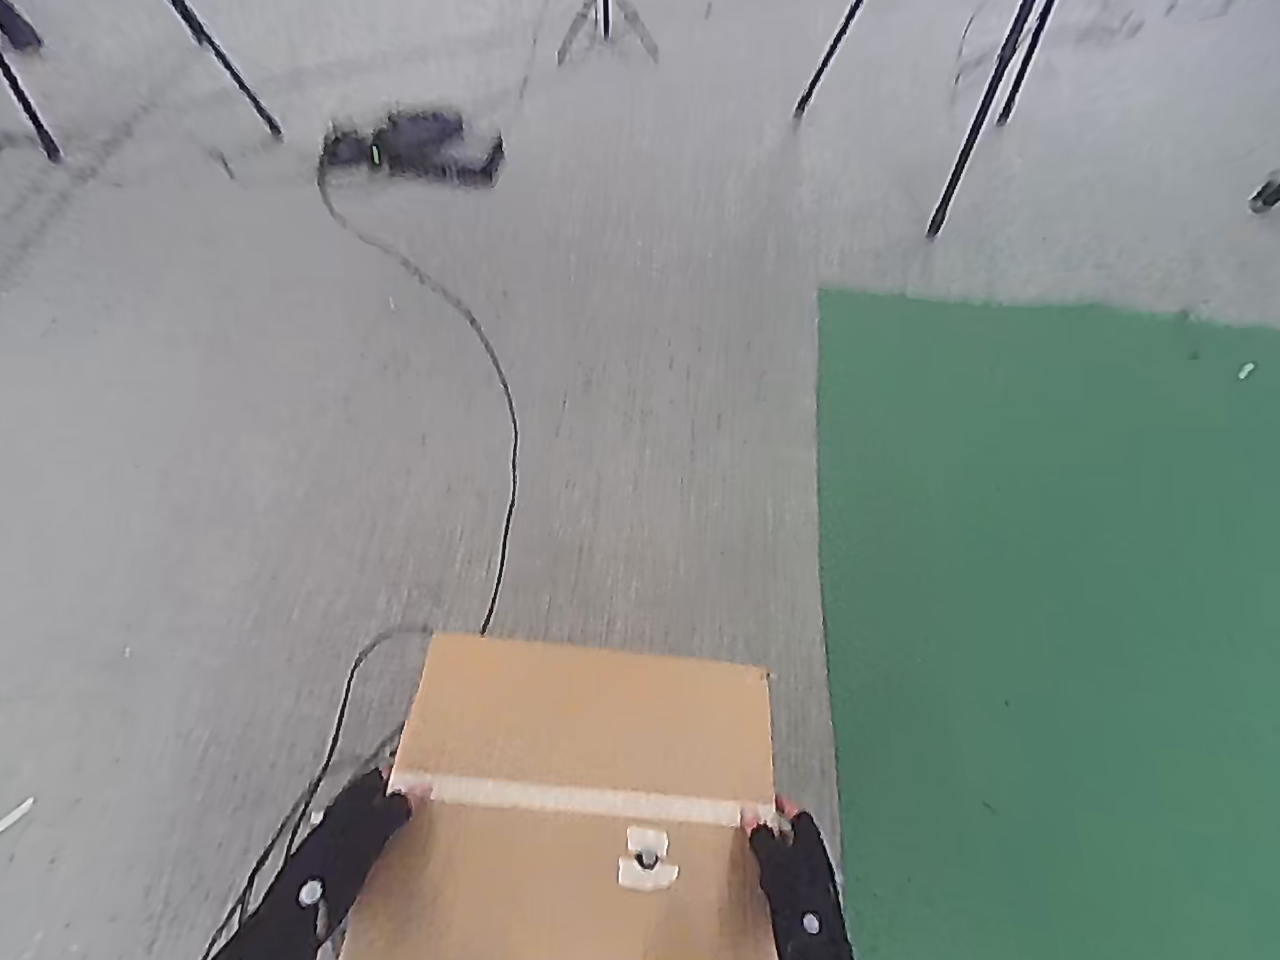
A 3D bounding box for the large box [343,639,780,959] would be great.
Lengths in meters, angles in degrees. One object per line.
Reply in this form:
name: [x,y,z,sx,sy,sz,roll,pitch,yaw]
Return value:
large box: [-0.076,0.420,0.682,0.408,0.320,0.320,8,55,-3]
